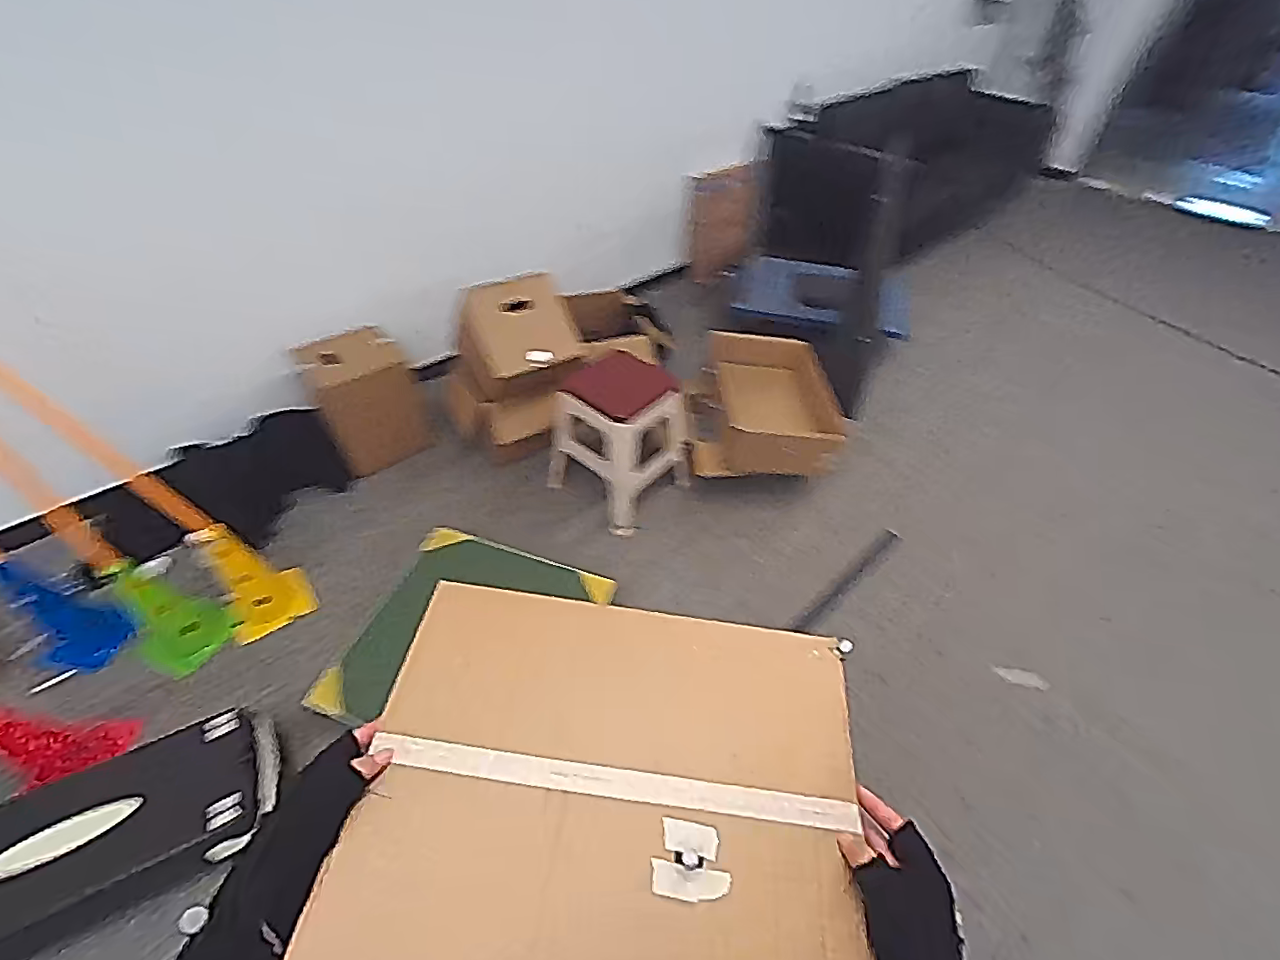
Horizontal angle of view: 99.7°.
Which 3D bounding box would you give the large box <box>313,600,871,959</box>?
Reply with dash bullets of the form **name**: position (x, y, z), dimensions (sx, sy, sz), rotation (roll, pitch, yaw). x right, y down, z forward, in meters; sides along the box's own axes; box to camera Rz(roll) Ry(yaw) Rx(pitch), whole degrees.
- **large box**: position (-0.028, 0.360, 0.565), dimensions (0.408, 0.320, 0.320), rotation (9, 51, 2)
